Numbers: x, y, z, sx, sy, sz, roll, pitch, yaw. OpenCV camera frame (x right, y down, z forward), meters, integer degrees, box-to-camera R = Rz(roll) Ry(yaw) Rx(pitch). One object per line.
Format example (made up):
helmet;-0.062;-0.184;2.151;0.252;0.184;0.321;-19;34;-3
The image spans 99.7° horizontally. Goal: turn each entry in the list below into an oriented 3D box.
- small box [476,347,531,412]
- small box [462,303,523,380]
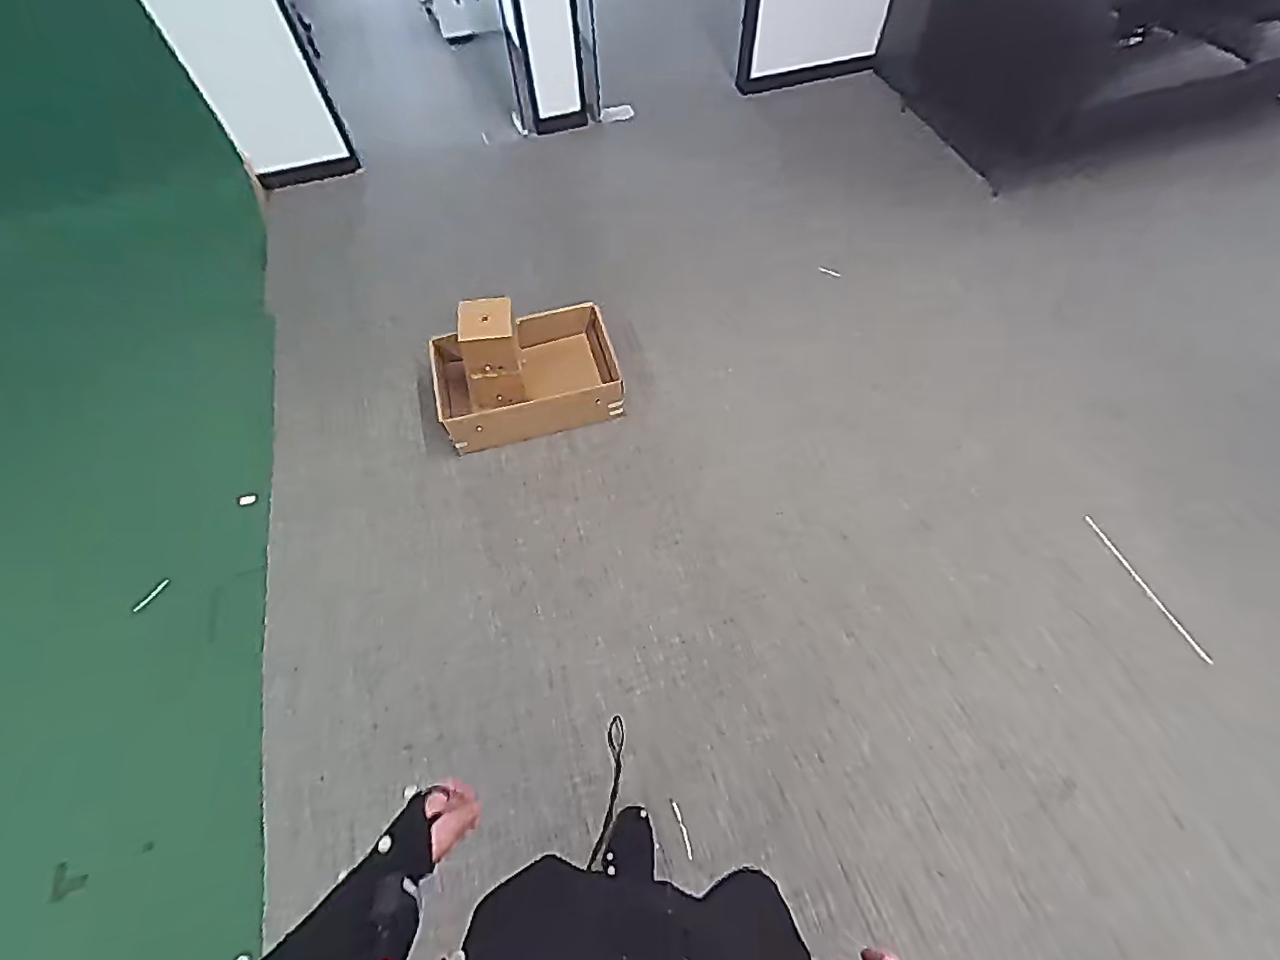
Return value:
small box;-0.484;-0.365;1.915;0.168;0.176;0.179;-10;61;-8
small box;-0.481;-0.453;1.778;0.168;0.176;0.179;-7;60;-6
